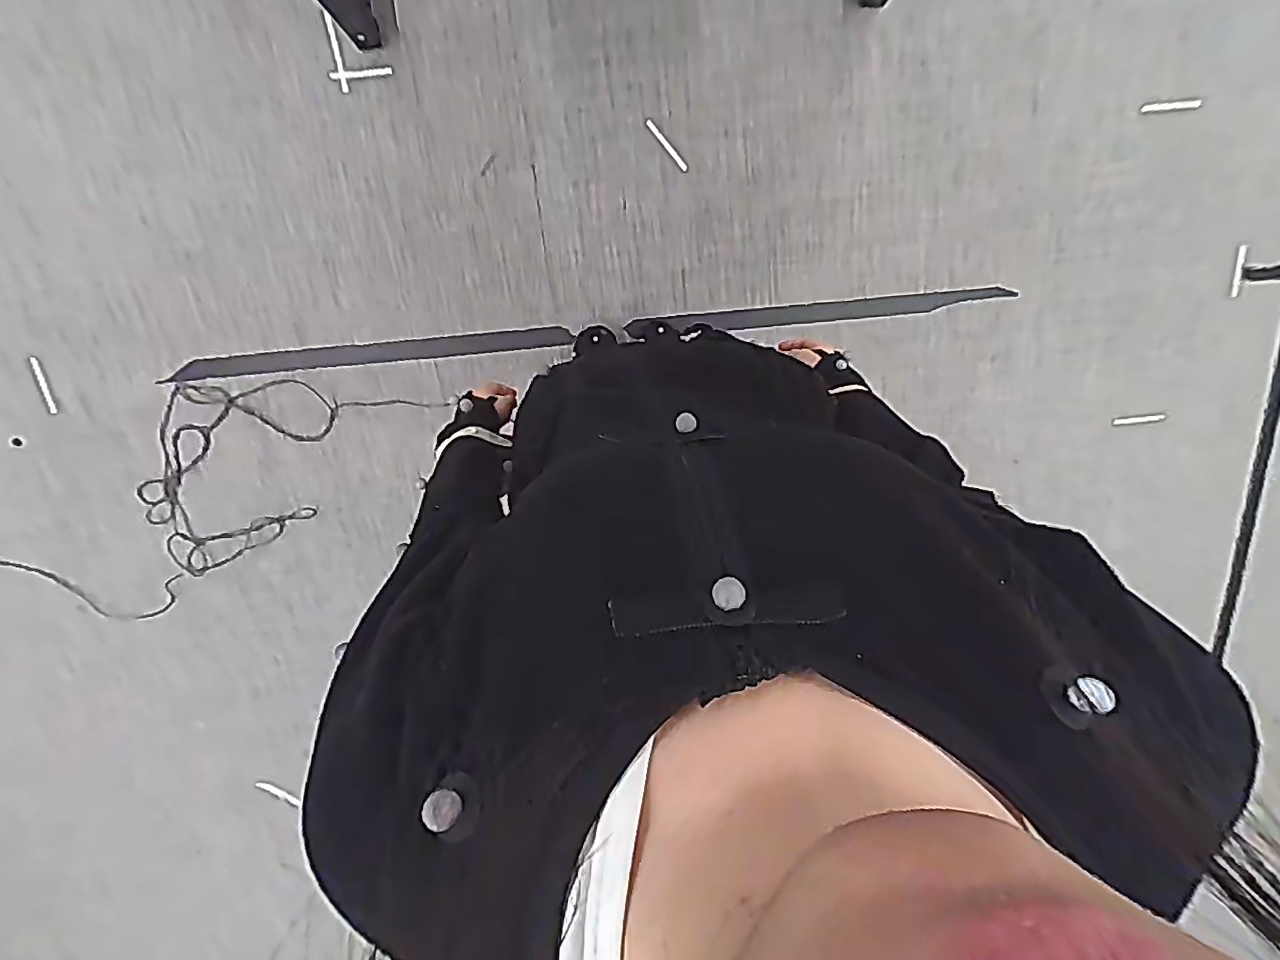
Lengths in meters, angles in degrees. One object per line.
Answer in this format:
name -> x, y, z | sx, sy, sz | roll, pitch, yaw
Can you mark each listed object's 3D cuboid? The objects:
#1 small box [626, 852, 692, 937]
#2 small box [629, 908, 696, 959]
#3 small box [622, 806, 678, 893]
small box -> 0.055, 1.258, 1.625 | 0.179, 0.176, 0.168 | -5, 105, -4
small box -> 0.061, 1.306, 1.469 | 0.168, 0.176, 0.179 | -6, 105, -4
small box -> 0.033, 1.217, 1.783 | 0.179, 0.176, 0.168 | -7, 106, -4
